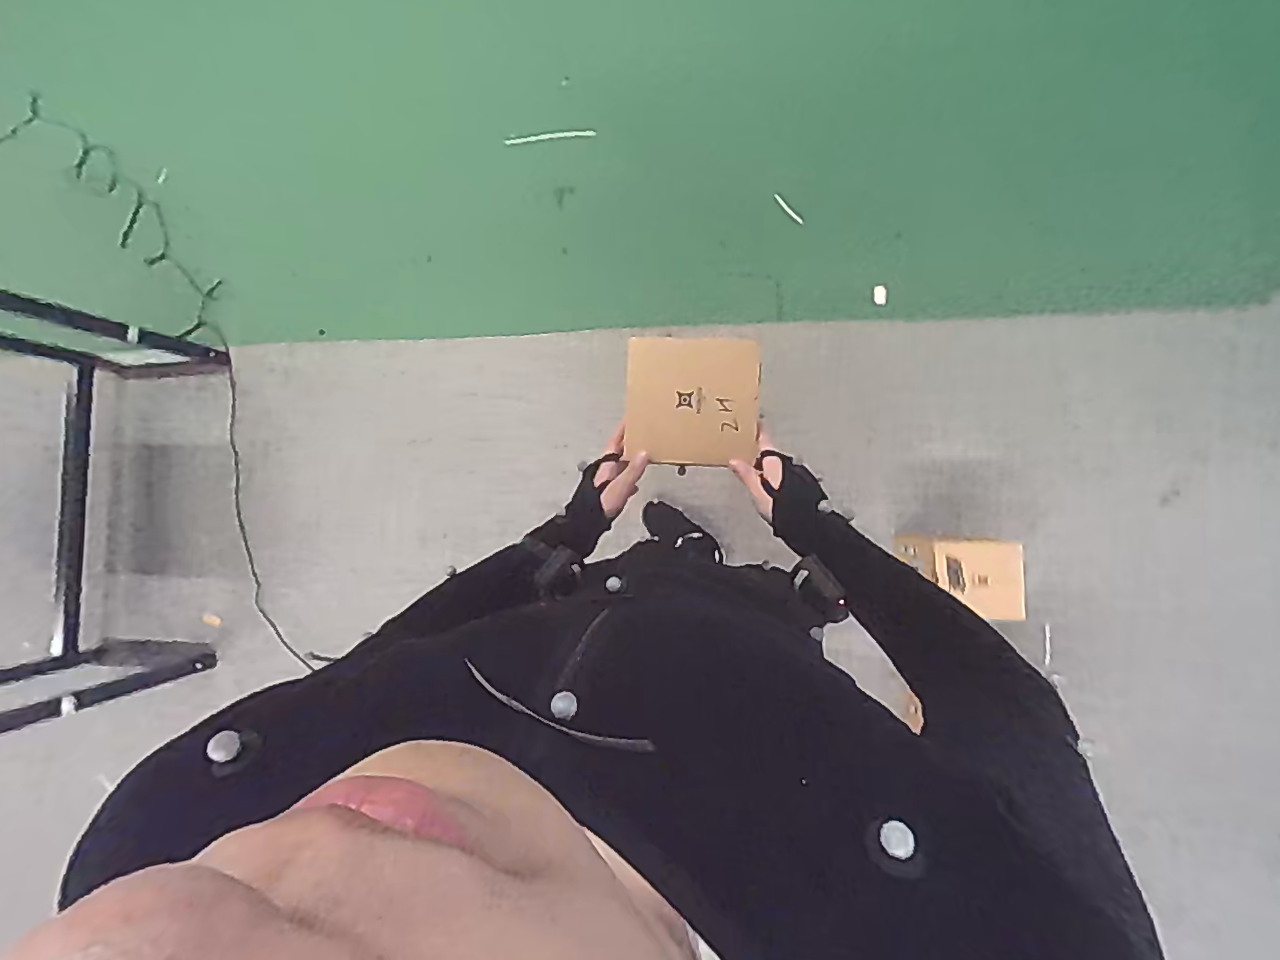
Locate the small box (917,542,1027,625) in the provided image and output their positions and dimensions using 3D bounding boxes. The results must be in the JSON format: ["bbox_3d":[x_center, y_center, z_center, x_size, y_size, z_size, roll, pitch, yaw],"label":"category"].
[{"bbox_3d":[0.749,0.230,1.240,0.179,0.176,0.168,-1,87,11],"label":"small box"}]

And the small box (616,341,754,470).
[{"bbox_3d":[0.069,-0.100,0.784,0.179,0.176,0.168,2,92,8],"label":"small box"}]
